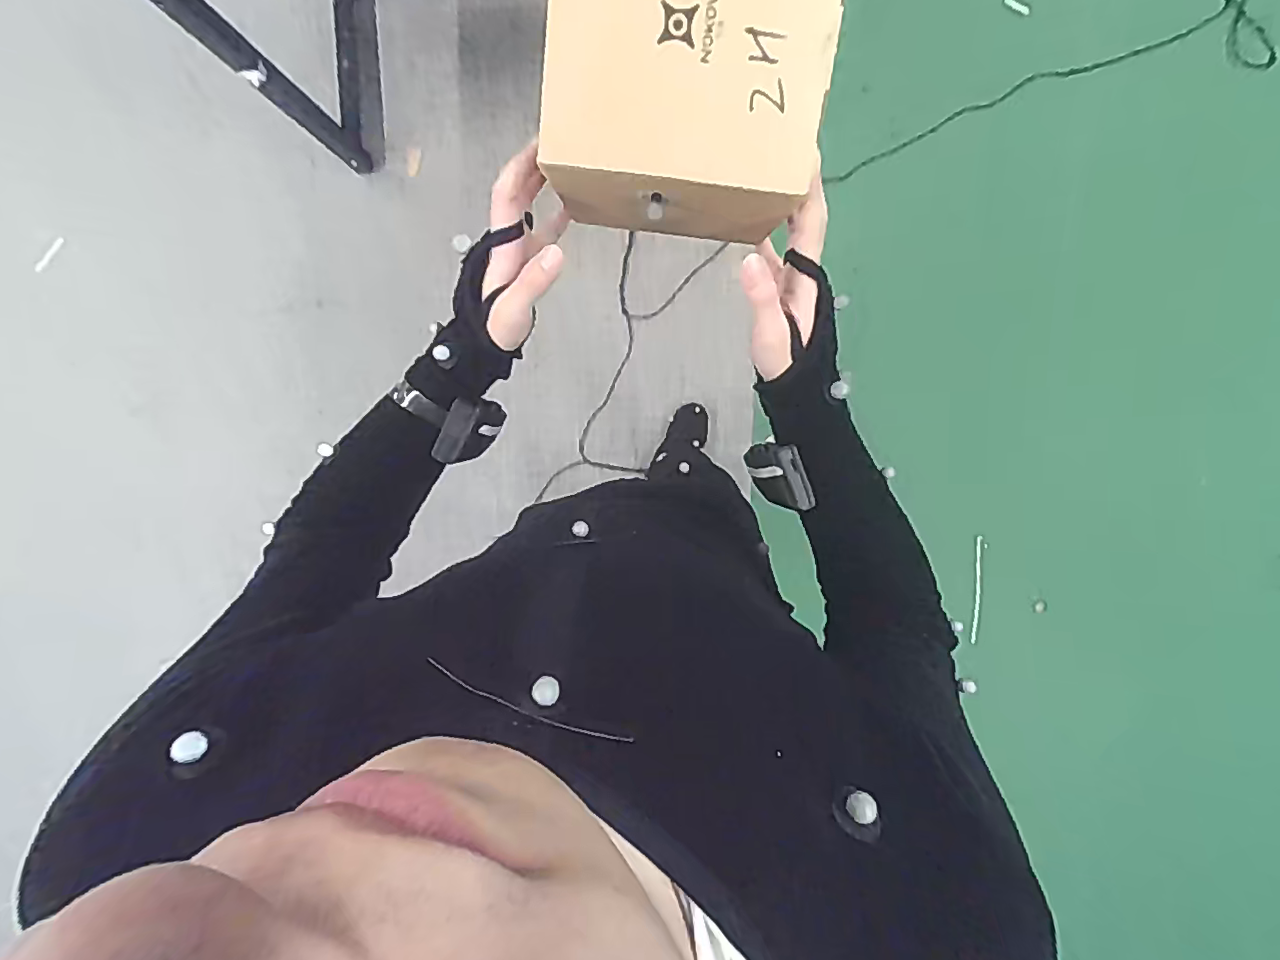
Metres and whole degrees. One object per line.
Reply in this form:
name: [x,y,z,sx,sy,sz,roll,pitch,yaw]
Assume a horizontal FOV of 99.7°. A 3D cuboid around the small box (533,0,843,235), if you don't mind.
small box: [0.032,-0.288,0.394,0.179,0.176,0.168,7,105,0]
